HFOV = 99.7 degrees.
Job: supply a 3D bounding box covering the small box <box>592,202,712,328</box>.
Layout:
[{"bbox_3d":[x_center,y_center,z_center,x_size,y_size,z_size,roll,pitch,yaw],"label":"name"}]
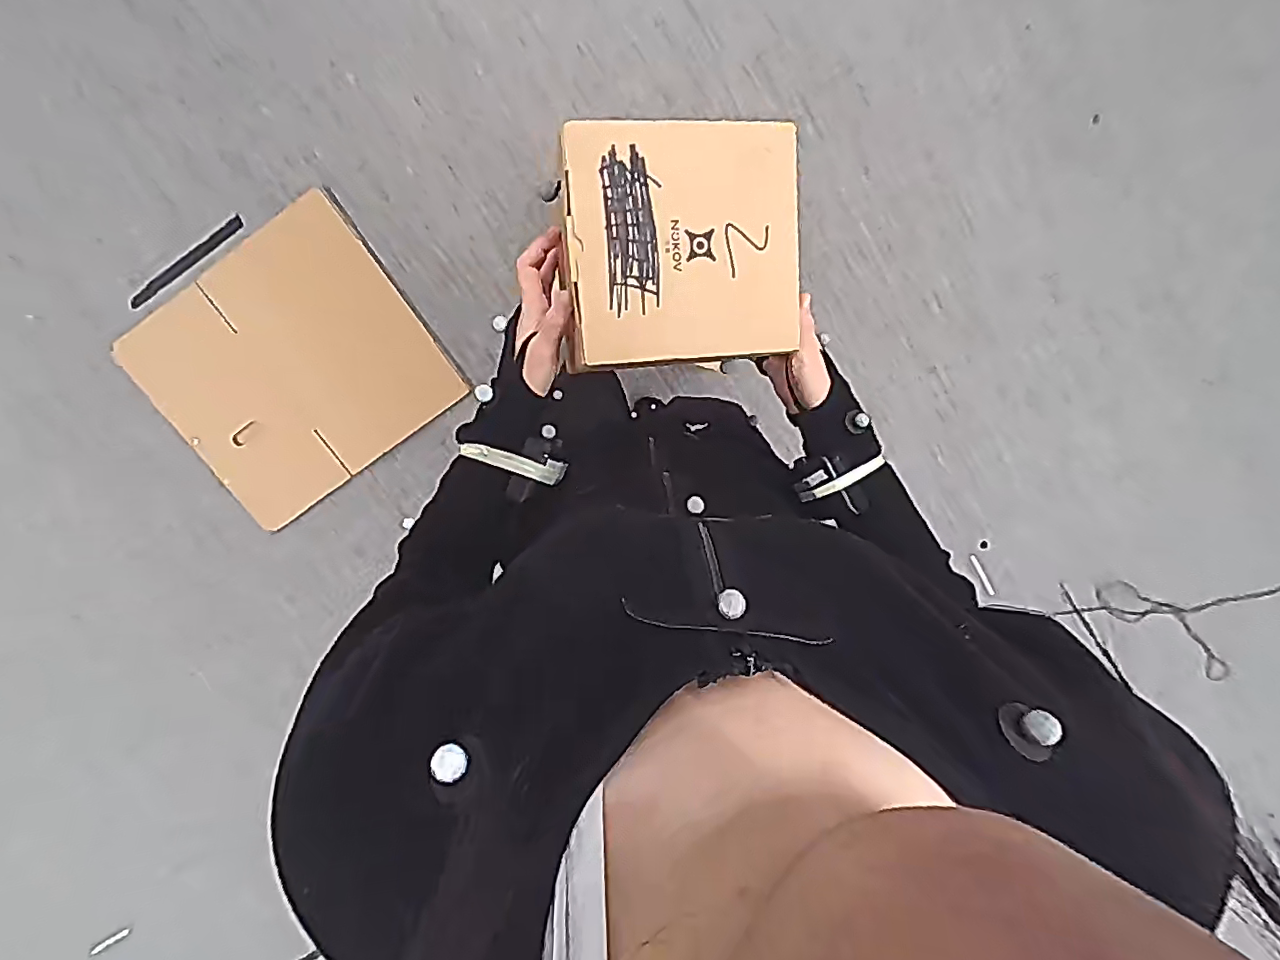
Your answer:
[{"bbox_3d":[0.018,-0.388,1.010,0.179,0.176,0.168,14,102,-5],"label":"small box"}]
